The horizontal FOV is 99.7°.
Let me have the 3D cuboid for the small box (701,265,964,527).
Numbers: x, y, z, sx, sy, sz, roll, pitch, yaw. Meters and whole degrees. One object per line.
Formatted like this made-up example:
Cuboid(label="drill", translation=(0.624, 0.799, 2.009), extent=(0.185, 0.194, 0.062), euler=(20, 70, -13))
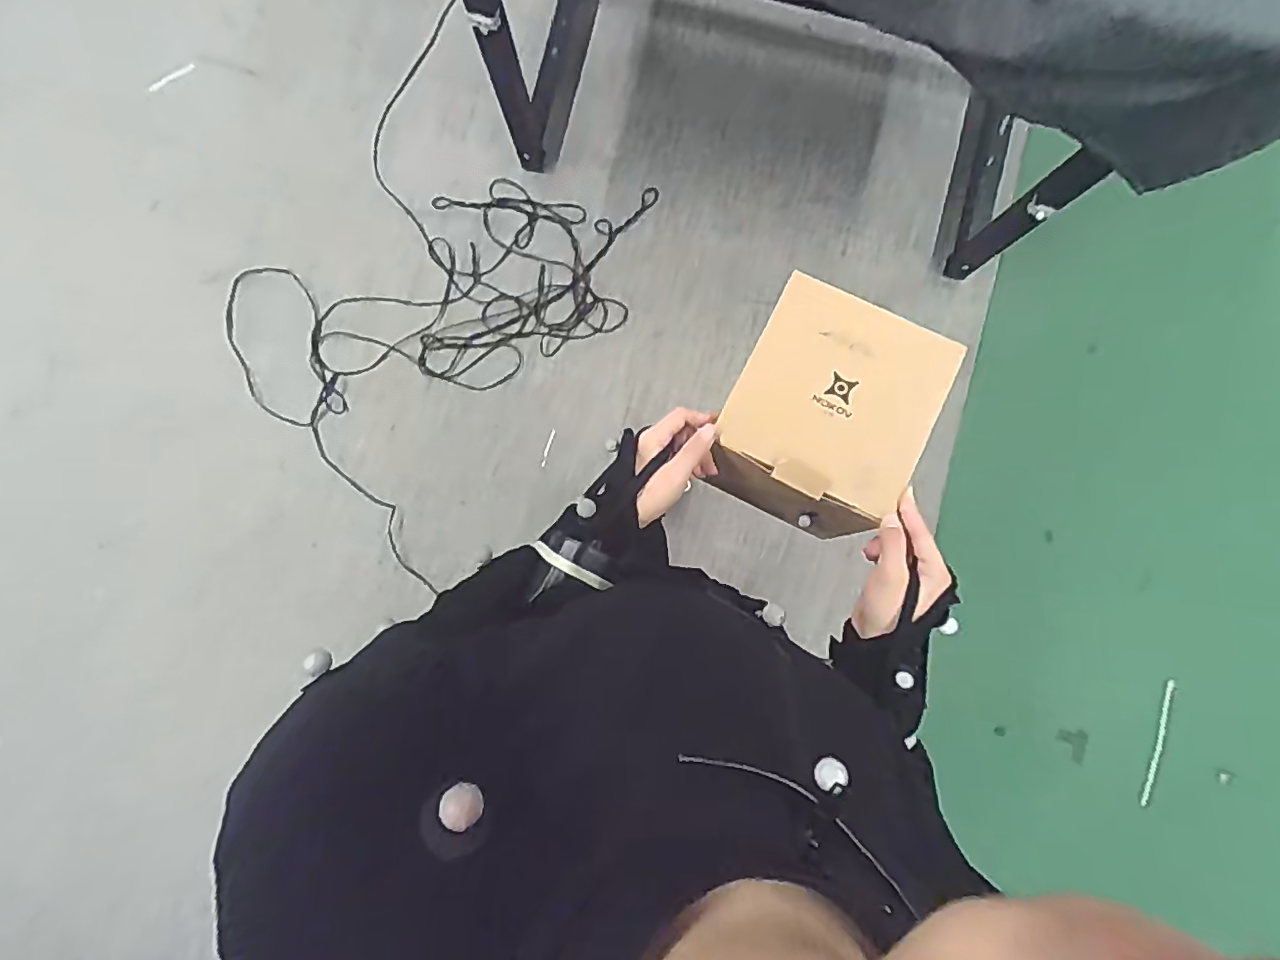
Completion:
Cuboid(label="small box", translation=(0.170, -0.066, 0.535), extent=(0.168, 0.176, 0.179), euler=(26, 81, 5))
